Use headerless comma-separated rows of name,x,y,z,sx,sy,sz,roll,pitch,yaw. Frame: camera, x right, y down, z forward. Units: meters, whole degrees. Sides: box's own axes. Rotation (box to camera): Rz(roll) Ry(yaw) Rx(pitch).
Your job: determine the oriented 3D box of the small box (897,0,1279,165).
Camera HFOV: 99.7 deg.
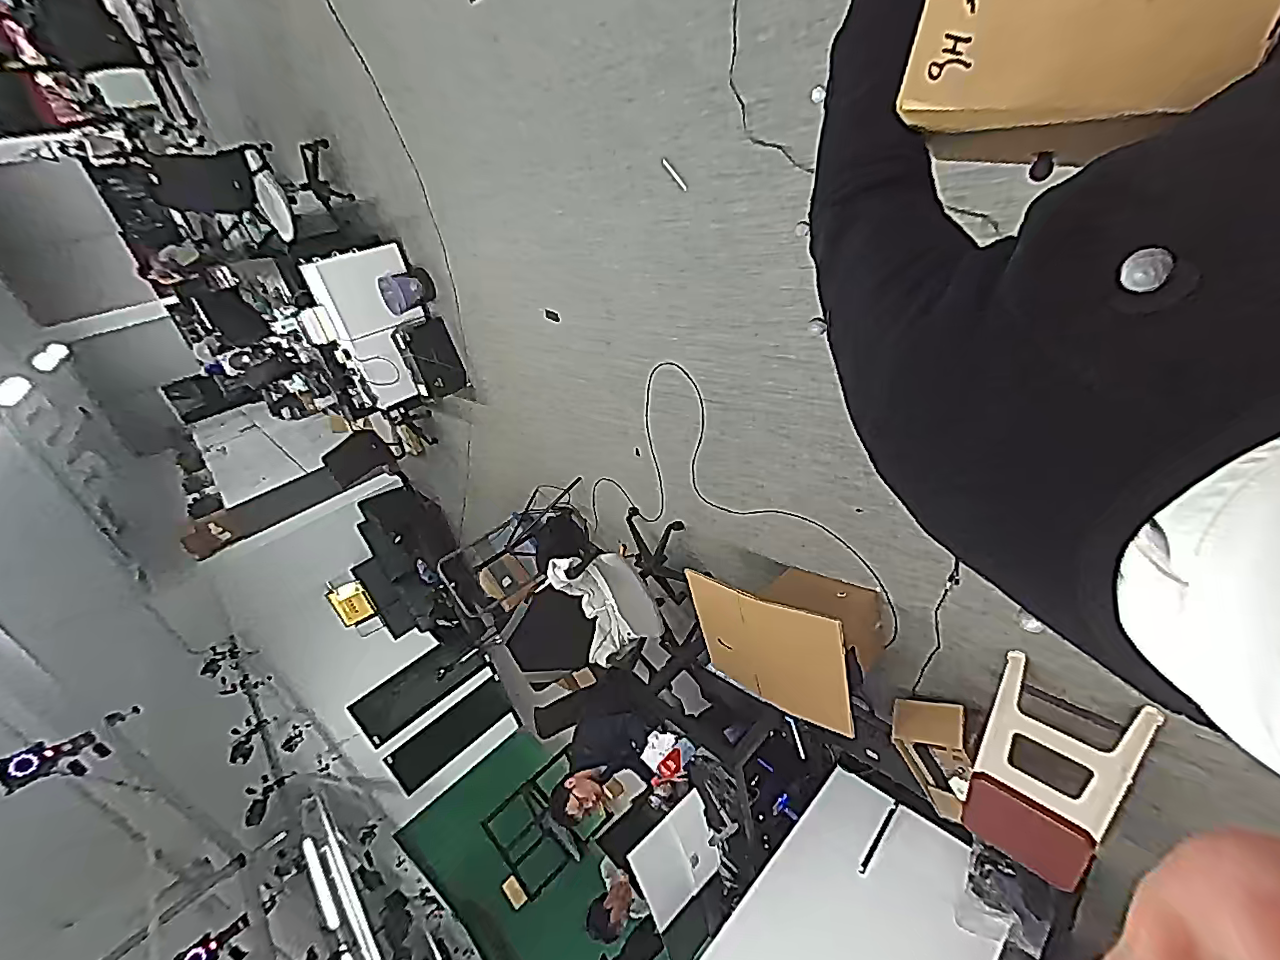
small box,0.302,-0.318,0.356,0.179,0.176,0.168,23,118,30
